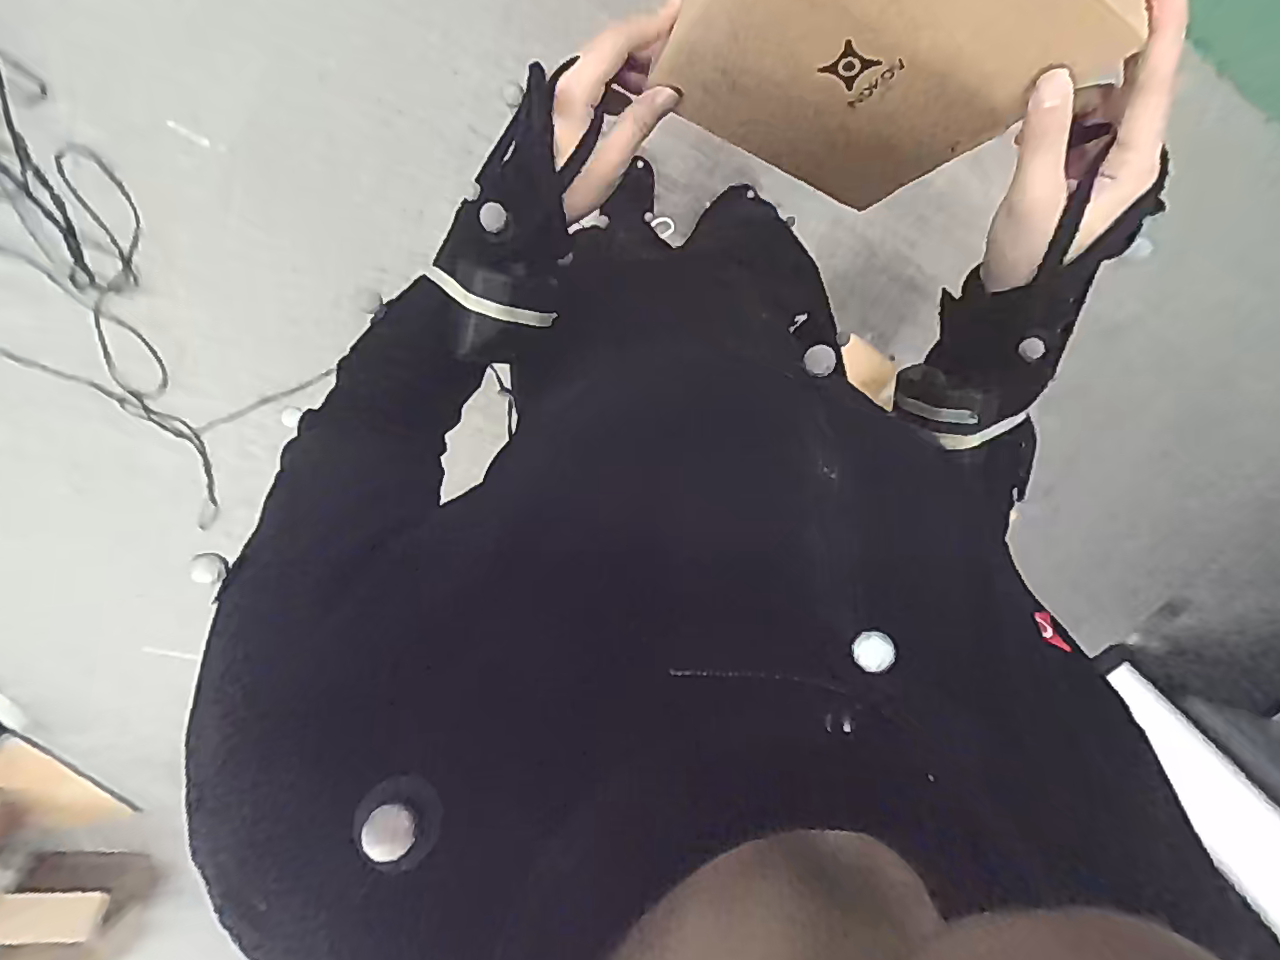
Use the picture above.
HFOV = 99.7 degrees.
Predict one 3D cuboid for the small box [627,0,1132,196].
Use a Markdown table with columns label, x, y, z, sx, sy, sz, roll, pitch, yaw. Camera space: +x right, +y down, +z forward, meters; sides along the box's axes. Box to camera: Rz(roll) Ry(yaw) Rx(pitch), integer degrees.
| label | x | y | z | sx | sy | sz | roll | pitch | yaw |
| --- | --- | --- | --- | --- | --- | --- | --- | --- | --- |
| small box | 0.115 | -0.293 | 0.275 | 0.179 | 0.168 | 0.176 | 12 | 86 | -21 |

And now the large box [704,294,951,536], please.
| label | x | y | z | sx | sy | sz | roll | pitch | yaw |
| --- | --- | --- | --- | --- | --- | --- | --- | --- | --- |
| large box | 0.406 | -0.152 | 1.272 | 0.320 | 0.320 | 0.408 | 27 | 118 | -20 |
